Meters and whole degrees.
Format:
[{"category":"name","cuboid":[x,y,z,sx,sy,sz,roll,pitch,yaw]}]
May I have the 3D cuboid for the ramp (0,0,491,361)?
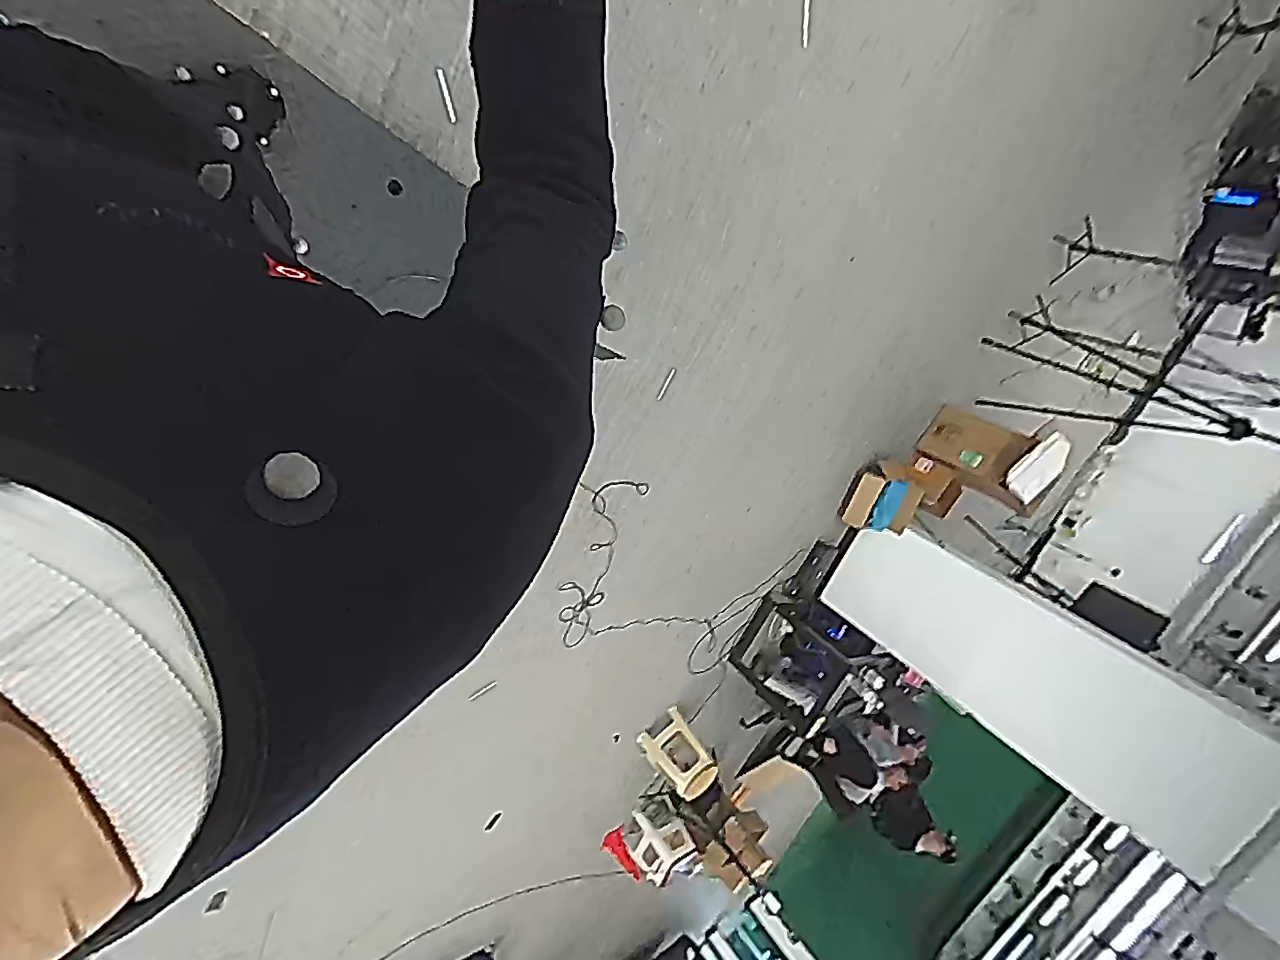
[{"category":"ramp","cuboid":[-0.784,-0.616,1.141,0.991,0.206,0.509,15,106,-48]}]
